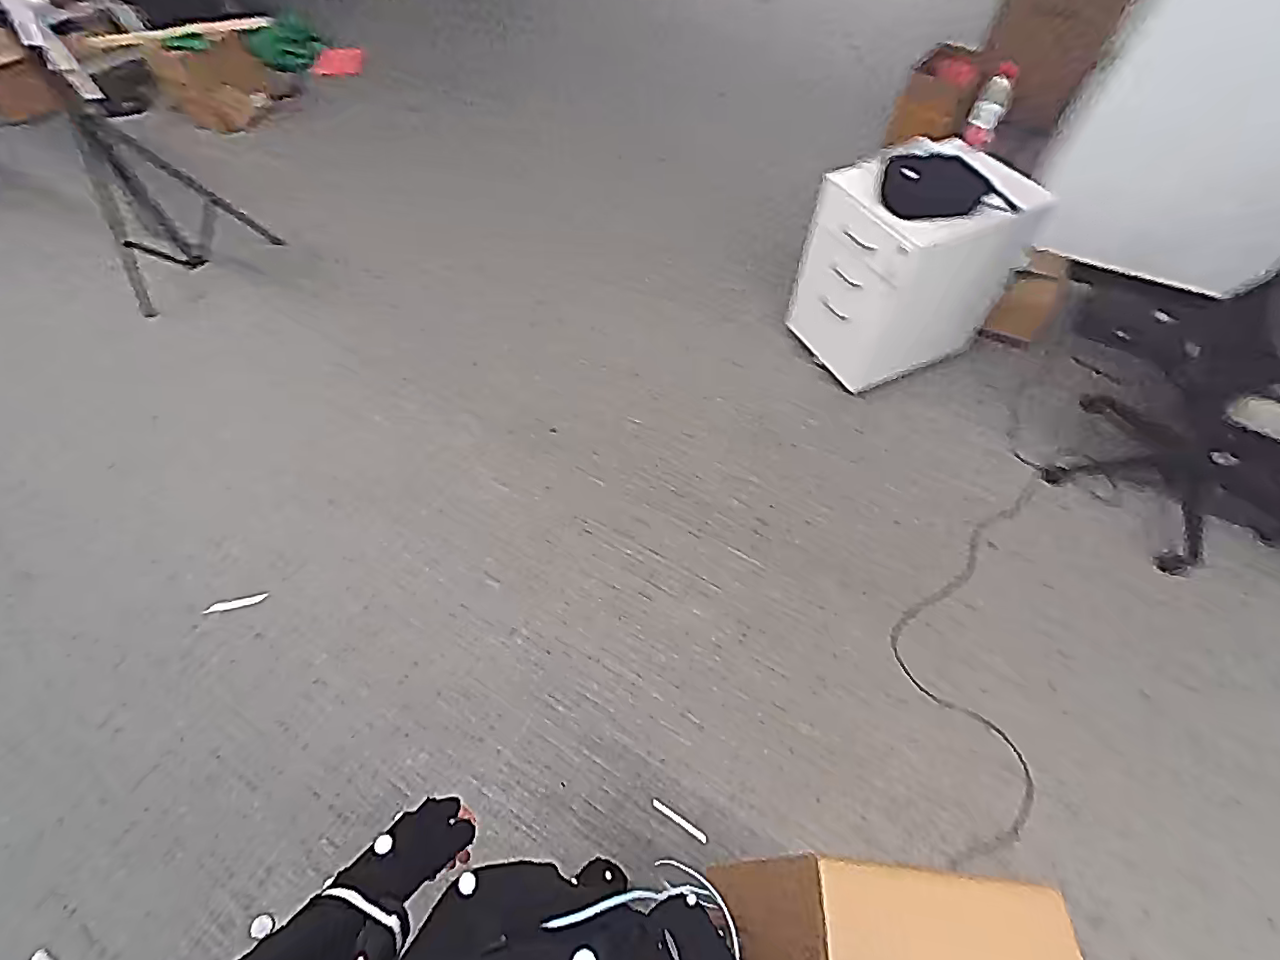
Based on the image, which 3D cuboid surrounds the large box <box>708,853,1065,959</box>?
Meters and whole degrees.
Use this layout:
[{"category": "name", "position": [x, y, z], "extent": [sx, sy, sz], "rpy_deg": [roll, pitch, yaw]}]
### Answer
[{"category": "large box", "position": [0.295, 0.698, 0.698], "extent": [0.320, 0.408, 0.320], "rpy_deg": [12, 52, -4]}]
